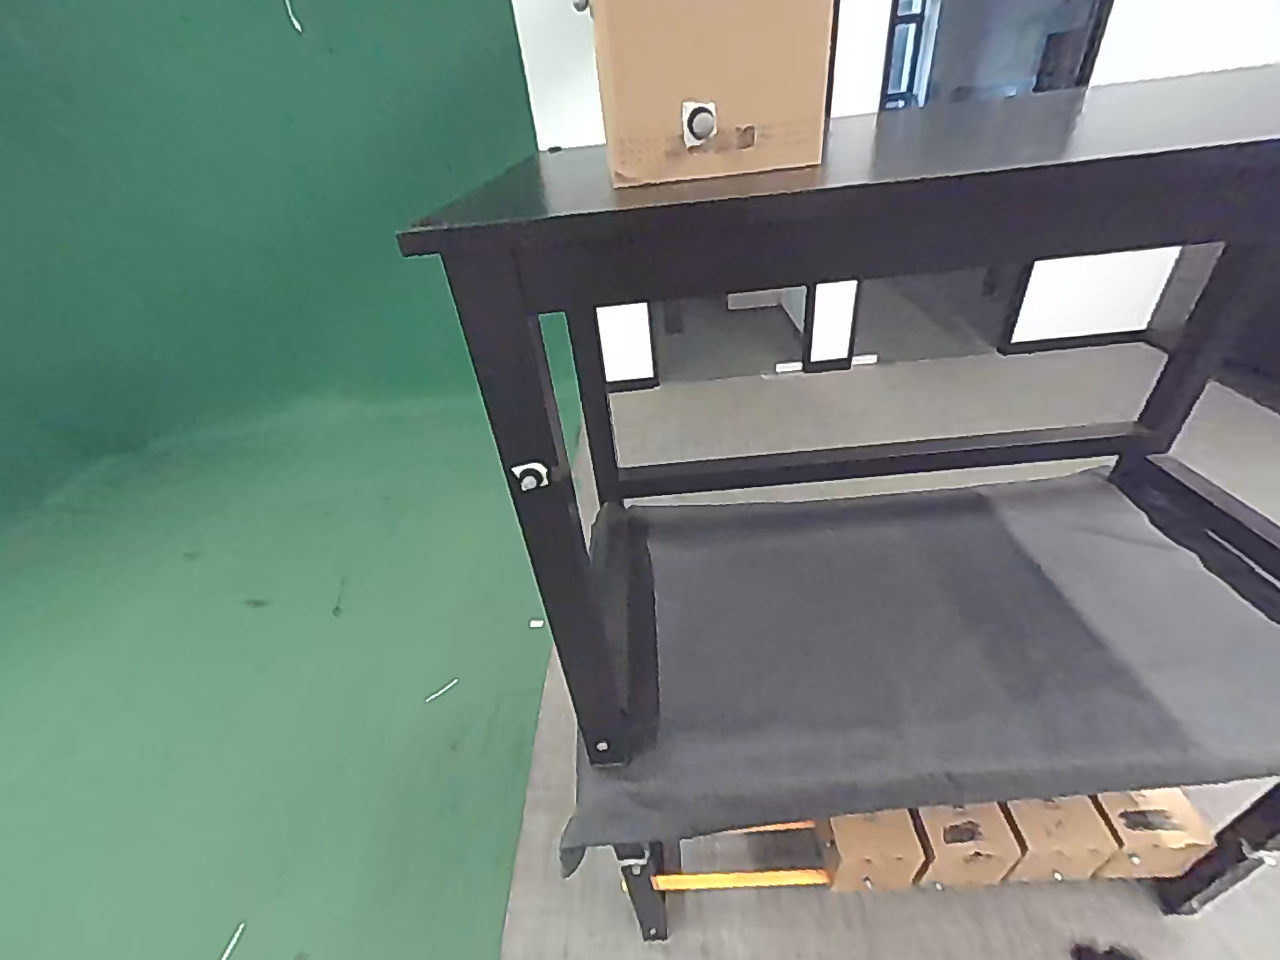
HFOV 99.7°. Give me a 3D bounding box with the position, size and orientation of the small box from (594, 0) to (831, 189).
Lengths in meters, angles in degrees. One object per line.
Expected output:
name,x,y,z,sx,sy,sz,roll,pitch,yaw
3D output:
small box,0.049,-0.354,0.456,0.168,0.176,0.179,-8,35,0
